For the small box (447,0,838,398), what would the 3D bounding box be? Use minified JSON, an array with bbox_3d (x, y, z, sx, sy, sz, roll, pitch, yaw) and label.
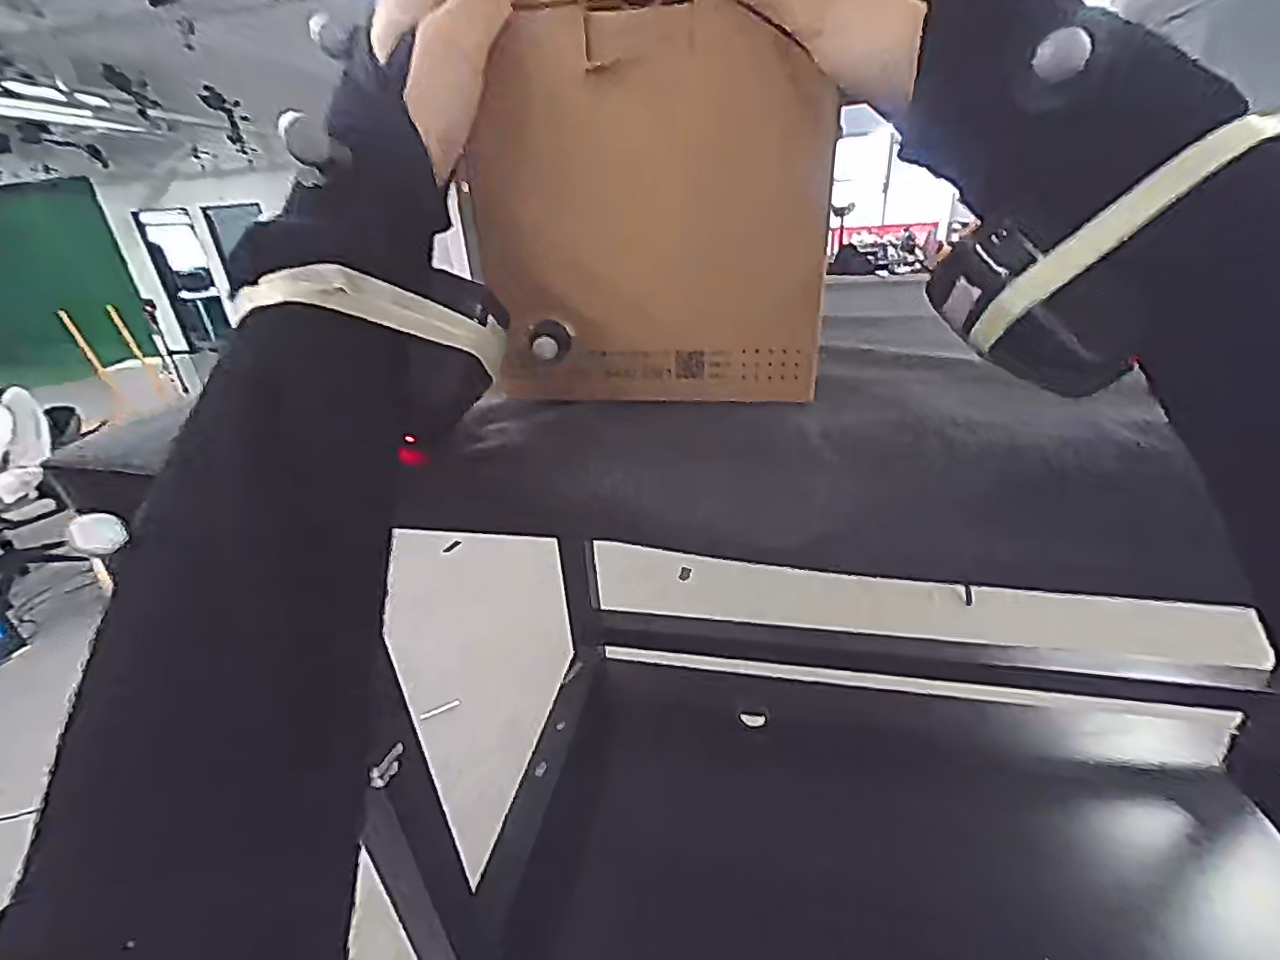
[{"bbox_3d":[0.014,-0.149,0.322,0.168,0.176,0.179,2,24,9],"label":"small box"}]
